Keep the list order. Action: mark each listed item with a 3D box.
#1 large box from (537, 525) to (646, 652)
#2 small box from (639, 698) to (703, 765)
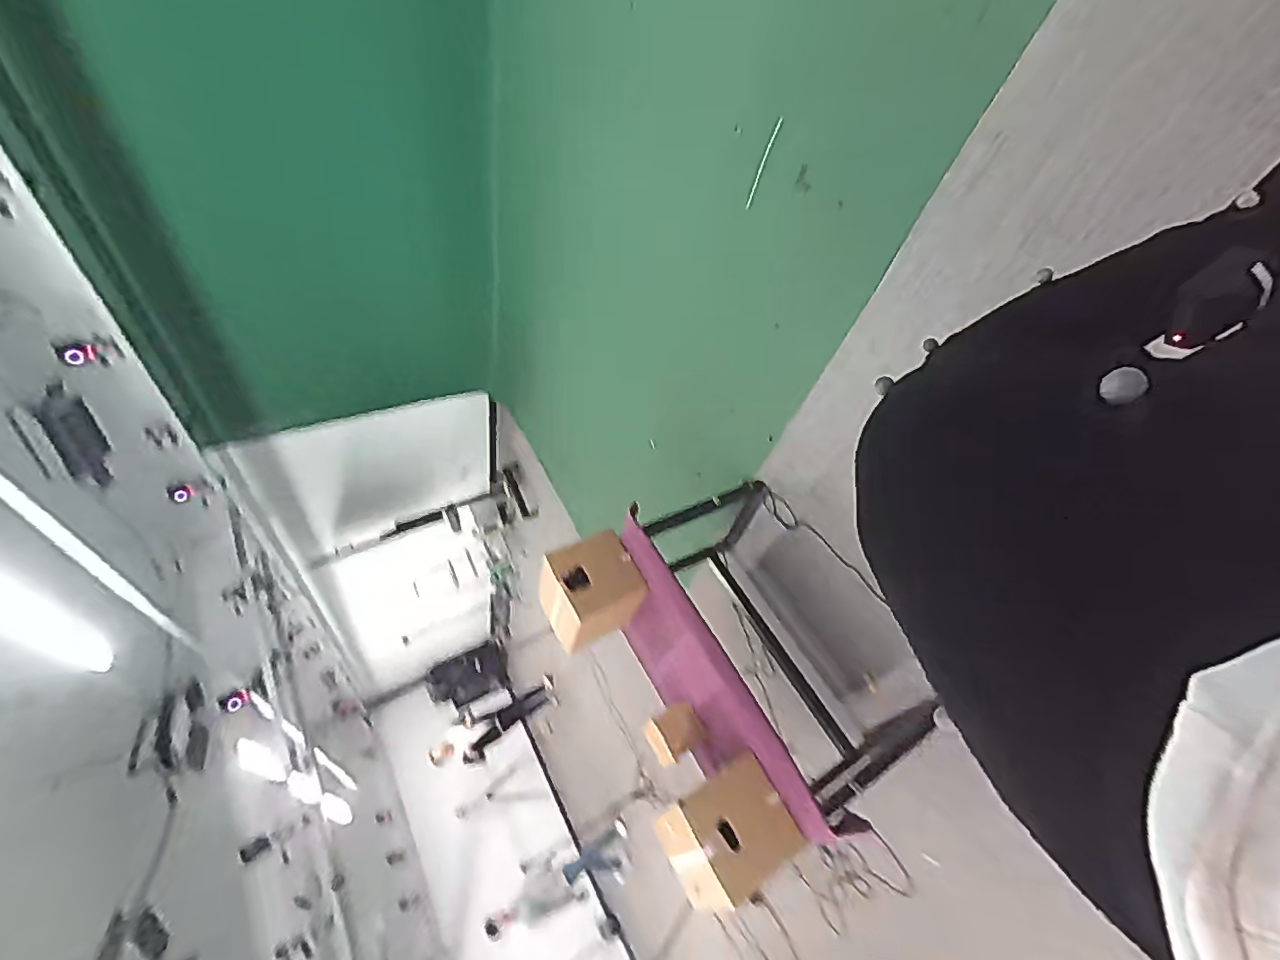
[{"bbox_3d":[-0.215,0.455,2.267,0.320,0.320,0.408,55,148,24],"label":"large box"},{"bbox_3d":[0.123,0.992,2.135,0.168,0.176,0.179,56,149,25],"label":"small box"}]
